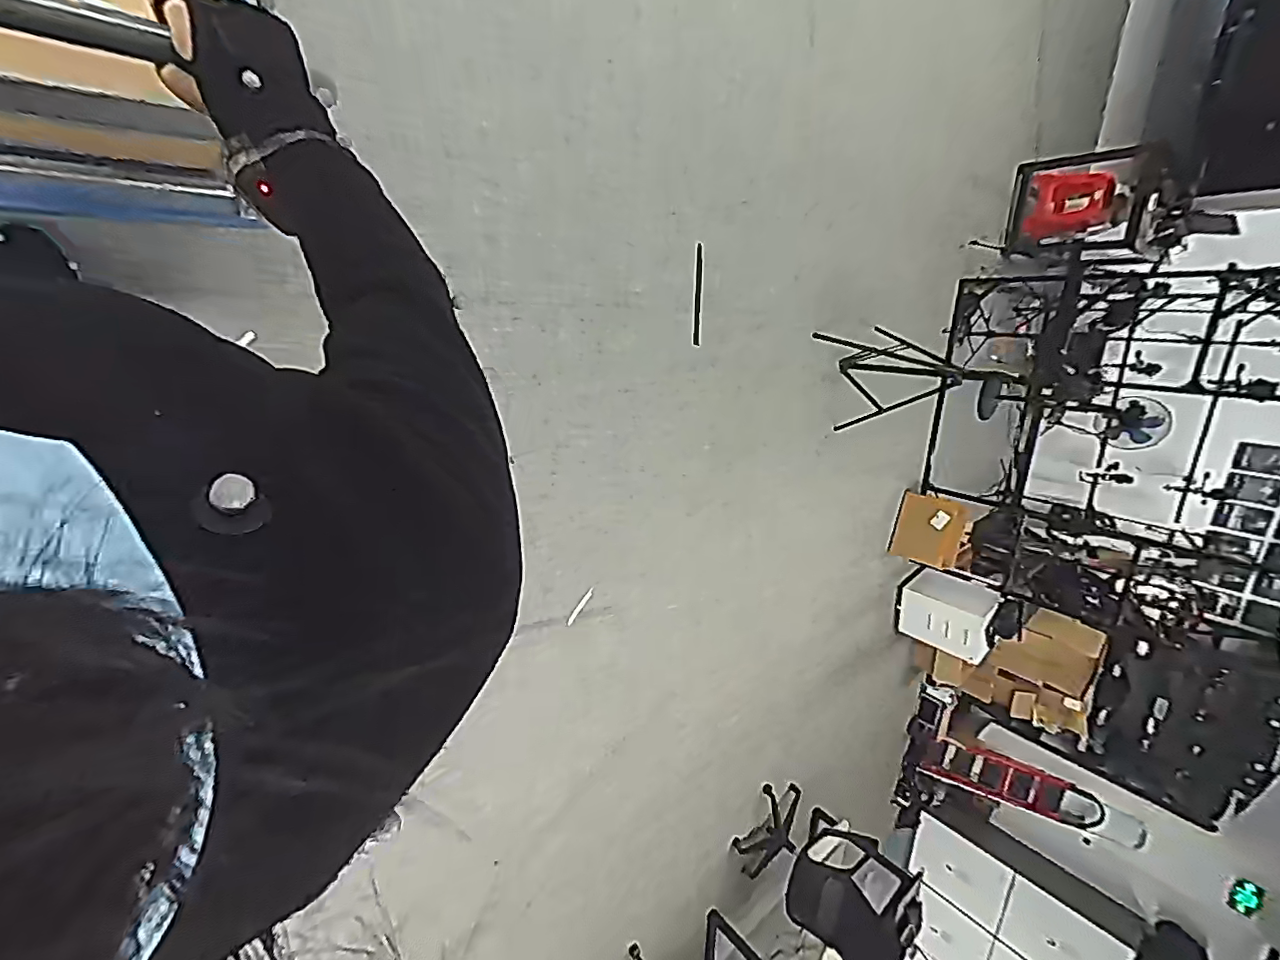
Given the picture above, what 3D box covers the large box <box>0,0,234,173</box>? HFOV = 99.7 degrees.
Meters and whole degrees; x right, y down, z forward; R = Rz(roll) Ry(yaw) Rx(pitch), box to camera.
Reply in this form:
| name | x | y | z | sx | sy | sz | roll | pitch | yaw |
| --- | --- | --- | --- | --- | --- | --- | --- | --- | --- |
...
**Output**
| name | x | y | z | sx | sy | sz | roll | pitch | yaw |
| --- | --- | --- | --- | --- | --- | --- | --- | --- | --- |
| large box | -0.805 | -0.614 | 0.678 | 0.408 | 0.320 | 0.320 | -14 | 113 | -40 |
